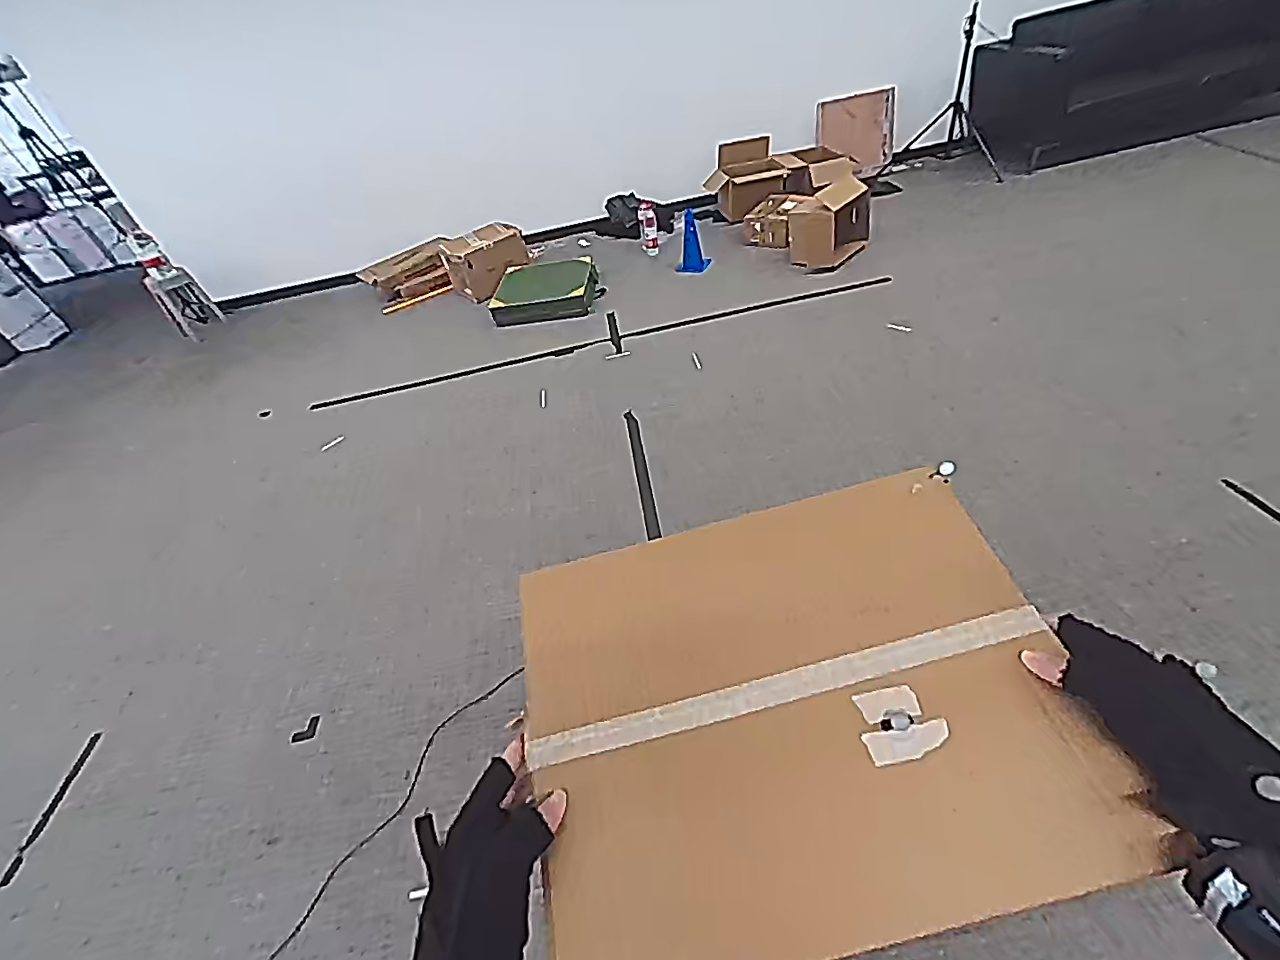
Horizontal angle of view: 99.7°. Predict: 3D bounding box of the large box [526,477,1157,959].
[{"bbox_3d":[0.135,0.254,0.552,0.408,0.320,0.320,-15,54,0],"label":"large box"}]
